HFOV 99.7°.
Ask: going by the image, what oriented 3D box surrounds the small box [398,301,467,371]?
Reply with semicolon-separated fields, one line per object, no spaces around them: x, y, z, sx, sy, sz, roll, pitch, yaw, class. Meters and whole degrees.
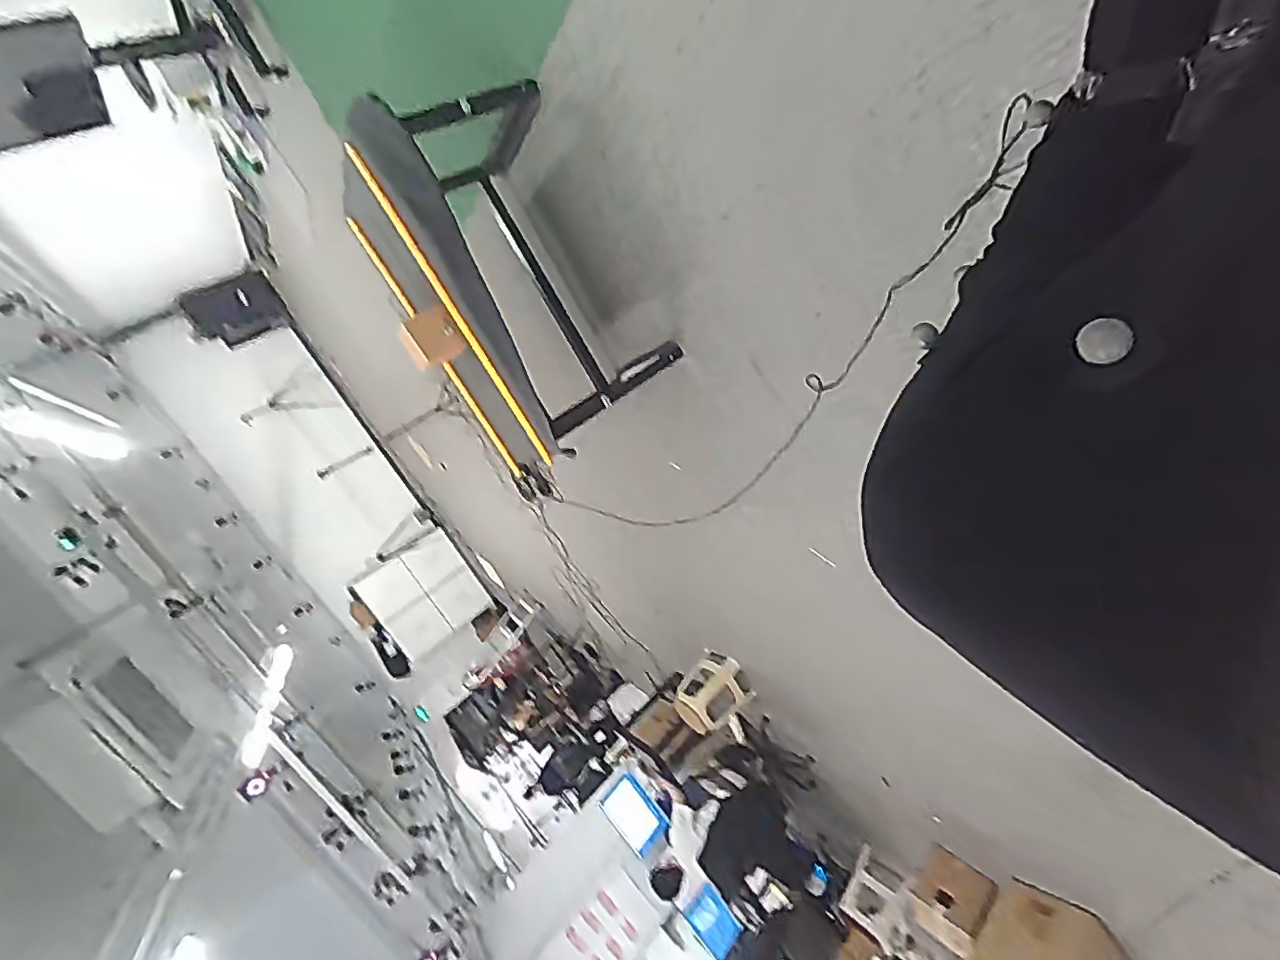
-0.763;-0.529;1.995;0.168;0.176;0.179;57;152;-12;small box
